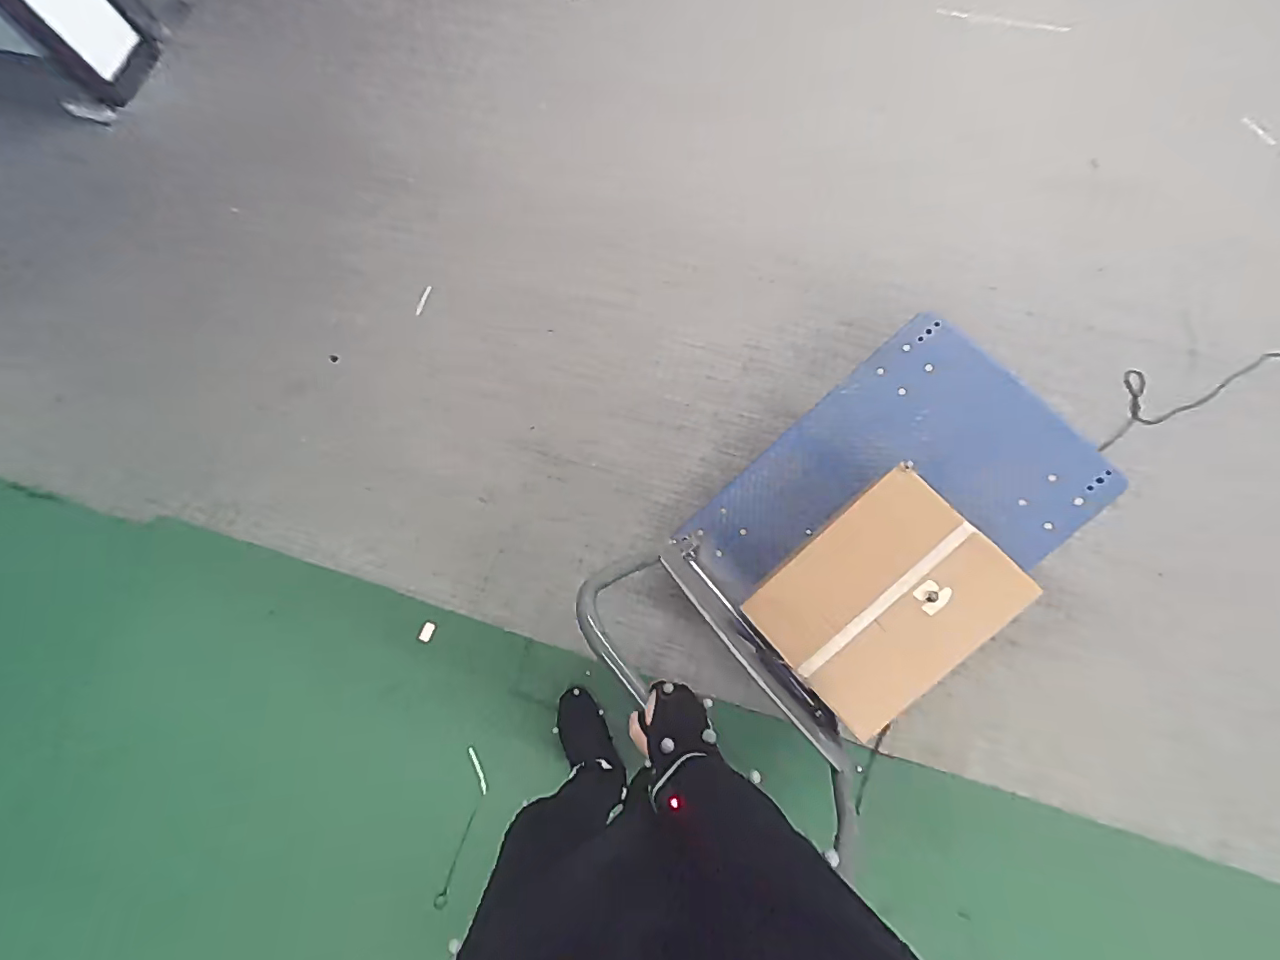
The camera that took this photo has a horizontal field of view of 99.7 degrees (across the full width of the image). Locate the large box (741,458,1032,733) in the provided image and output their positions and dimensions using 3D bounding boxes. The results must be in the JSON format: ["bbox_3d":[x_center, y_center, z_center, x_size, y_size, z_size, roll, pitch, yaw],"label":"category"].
[{"bbox_3d":[0.462,0.222,1.110,0.408,0.320,0.320,-44,77,5],"label":"large box"}]
